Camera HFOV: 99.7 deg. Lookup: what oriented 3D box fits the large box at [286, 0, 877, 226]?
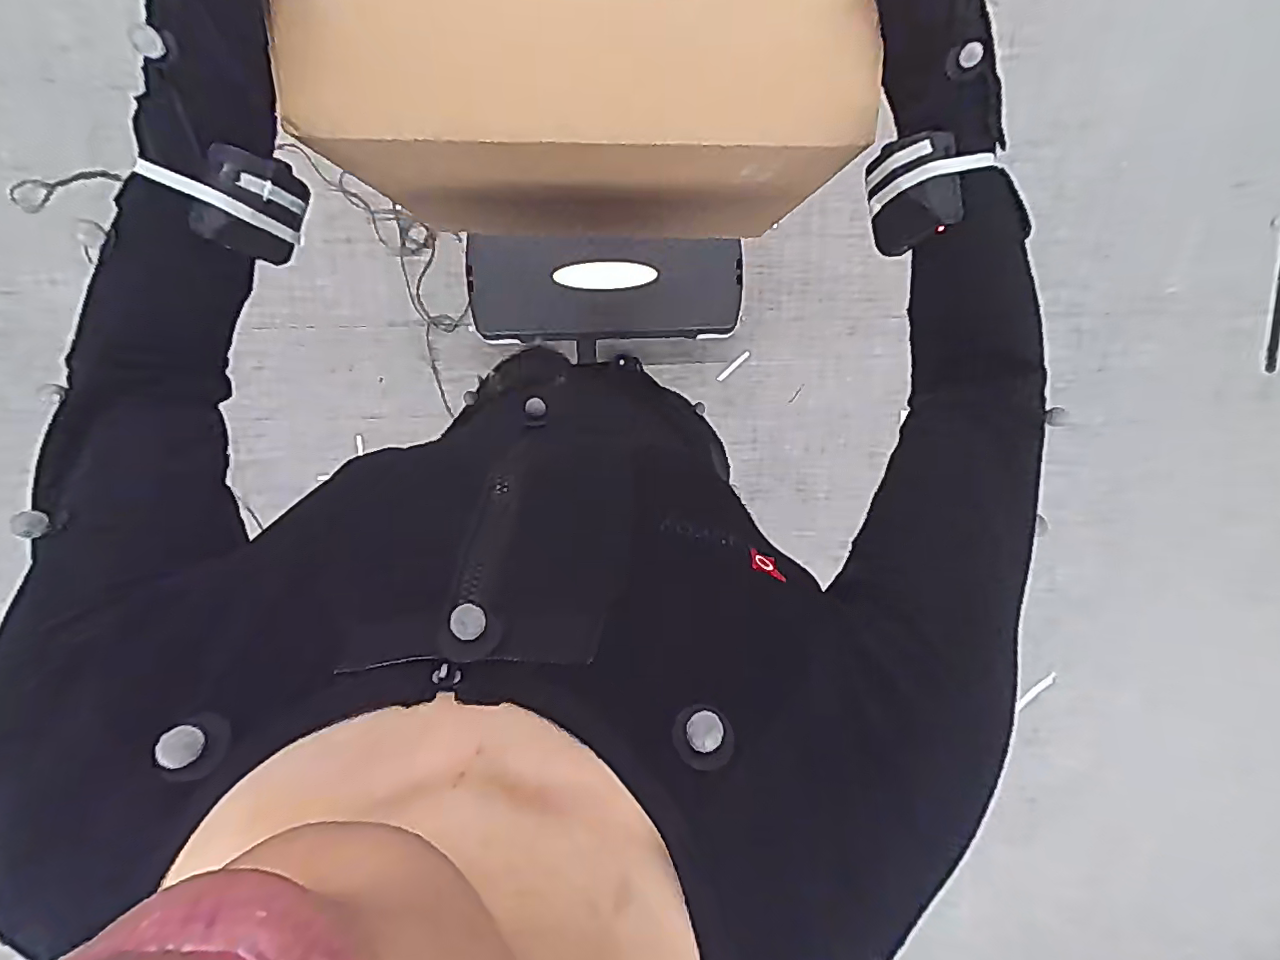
[{"bbox_3d":[-0.043,-0.431,0.489,0.408,0.320,0.320,0,104,-2],"label":"large box"}]
